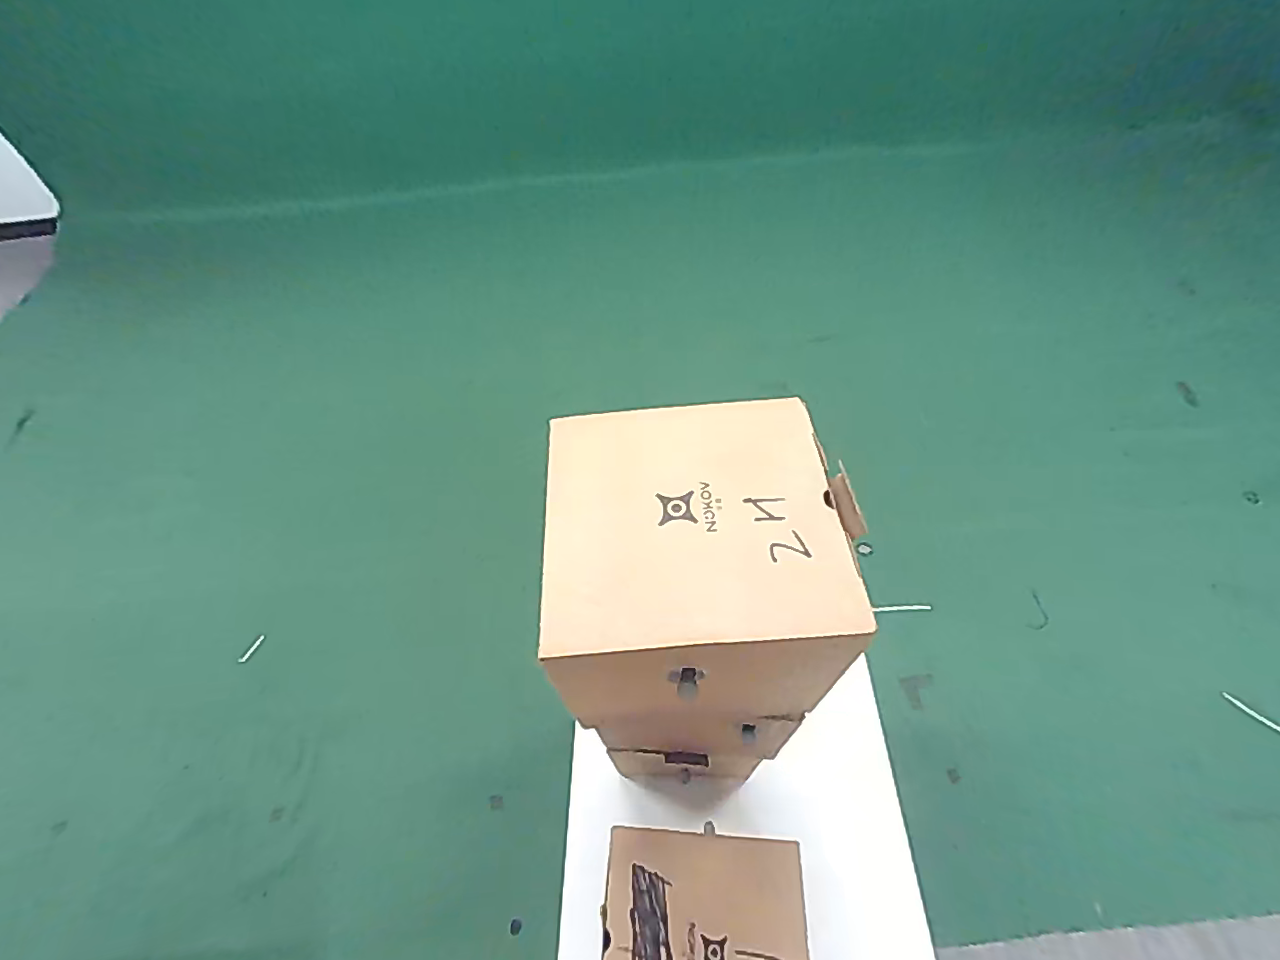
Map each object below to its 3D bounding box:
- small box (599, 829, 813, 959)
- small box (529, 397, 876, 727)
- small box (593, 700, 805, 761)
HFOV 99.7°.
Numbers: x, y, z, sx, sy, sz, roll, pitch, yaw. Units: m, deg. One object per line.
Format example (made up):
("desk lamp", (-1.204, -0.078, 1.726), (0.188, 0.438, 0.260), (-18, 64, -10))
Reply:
("small box", (0.057, 0.438, 0.502), (0.179, 0.176, 0.168), (2, 53, 5))
("small box", (0.031, 0.064, 0.376), (0.179, 0.176, 0.168), (-4, 54, 0))
("small box", (0.045, 0.157, 0.511), (0.179, 0.176, 0.168), (2, 53, 4))
